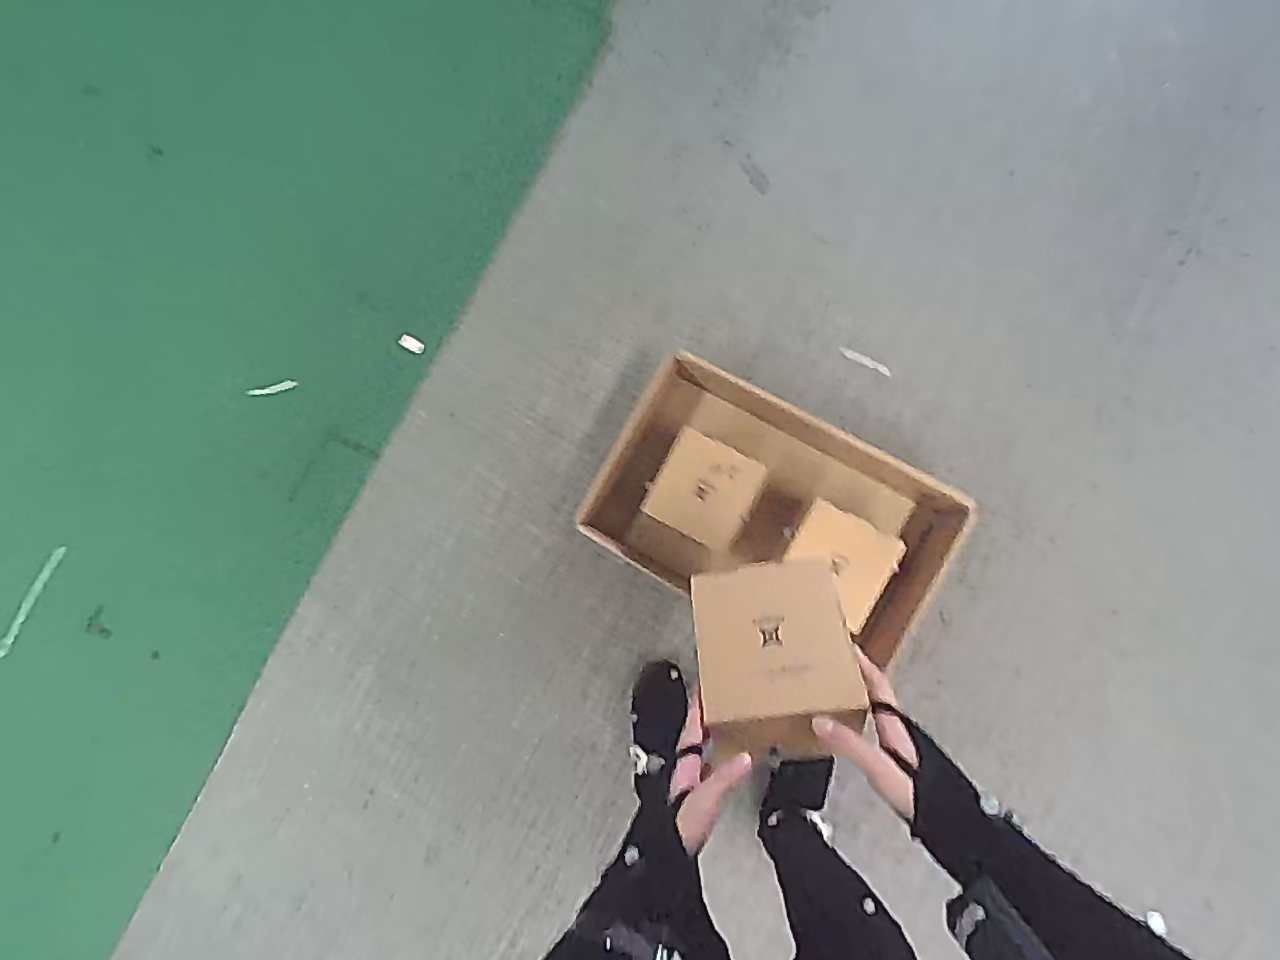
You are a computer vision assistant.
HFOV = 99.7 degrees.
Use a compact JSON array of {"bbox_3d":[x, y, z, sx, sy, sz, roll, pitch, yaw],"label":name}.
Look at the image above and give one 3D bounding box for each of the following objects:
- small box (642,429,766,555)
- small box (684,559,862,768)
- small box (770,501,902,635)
[{"bbox_3d":[0.123,0.027,1.045,0.168,0.176,0.179,29,89,7],"label":"small box"},{"bbox_3d":[0.149,0.220,0.641,0.168,0.176,0.179,-10,48,8],"label":"small box"},{"bbox_3d":[0.347,0.158,1.005,0.168,0.176,0.179,29,89,10],"label":"small box"}]
